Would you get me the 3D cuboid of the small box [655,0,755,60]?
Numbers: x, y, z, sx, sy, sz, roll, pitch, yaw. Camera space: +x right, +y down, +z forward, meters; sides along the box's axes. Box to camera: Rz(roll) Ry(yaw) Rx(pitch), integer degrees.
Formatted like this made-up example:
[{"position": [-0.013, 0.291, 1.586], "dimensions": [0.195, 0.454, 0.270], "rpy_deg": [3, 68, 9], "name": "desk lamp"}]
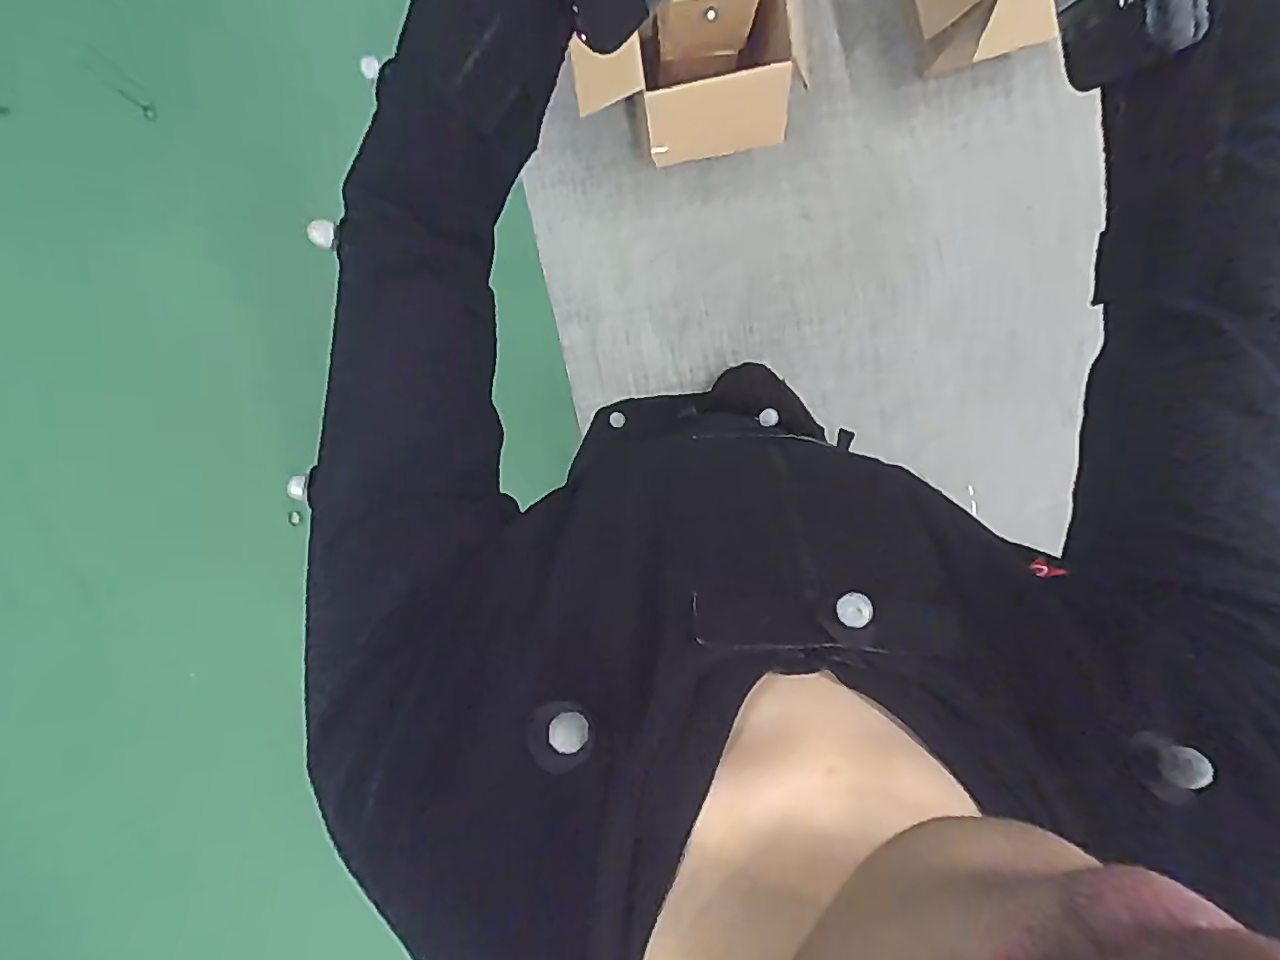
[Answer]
[{"position": [0.125, -0.996, 1.092], "dimensions": [0.179, 0.176, 0.168], "rpy_deg": [-8, 96, 0], "name": "small box"}]
